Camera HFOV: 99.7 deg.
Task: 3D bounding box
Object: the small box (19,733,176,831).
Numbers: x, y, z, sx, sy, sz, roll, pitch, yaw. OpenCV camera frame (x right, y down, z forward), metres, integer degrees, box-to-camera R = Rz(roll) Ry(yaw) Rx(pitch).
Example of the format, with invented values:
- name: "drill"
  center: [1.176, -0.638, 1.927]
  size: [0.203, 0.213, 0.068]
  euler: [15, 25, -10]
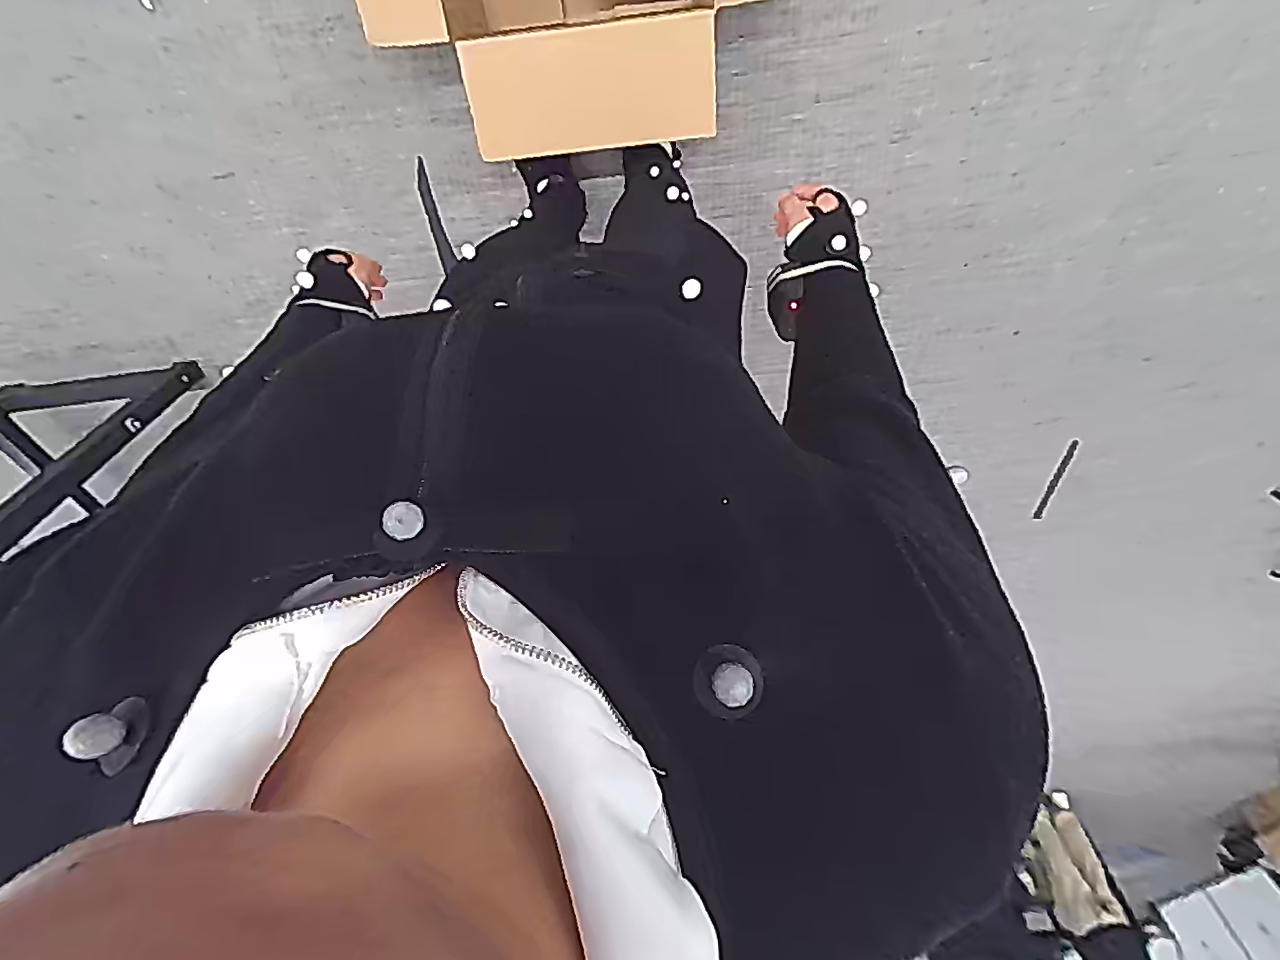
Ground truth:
- name: "small box"
  center: [-1.317, 0.737, 1.329]
  size: [0.168, 0.176, 0.179]
  euler: [-4, 131, 2]
